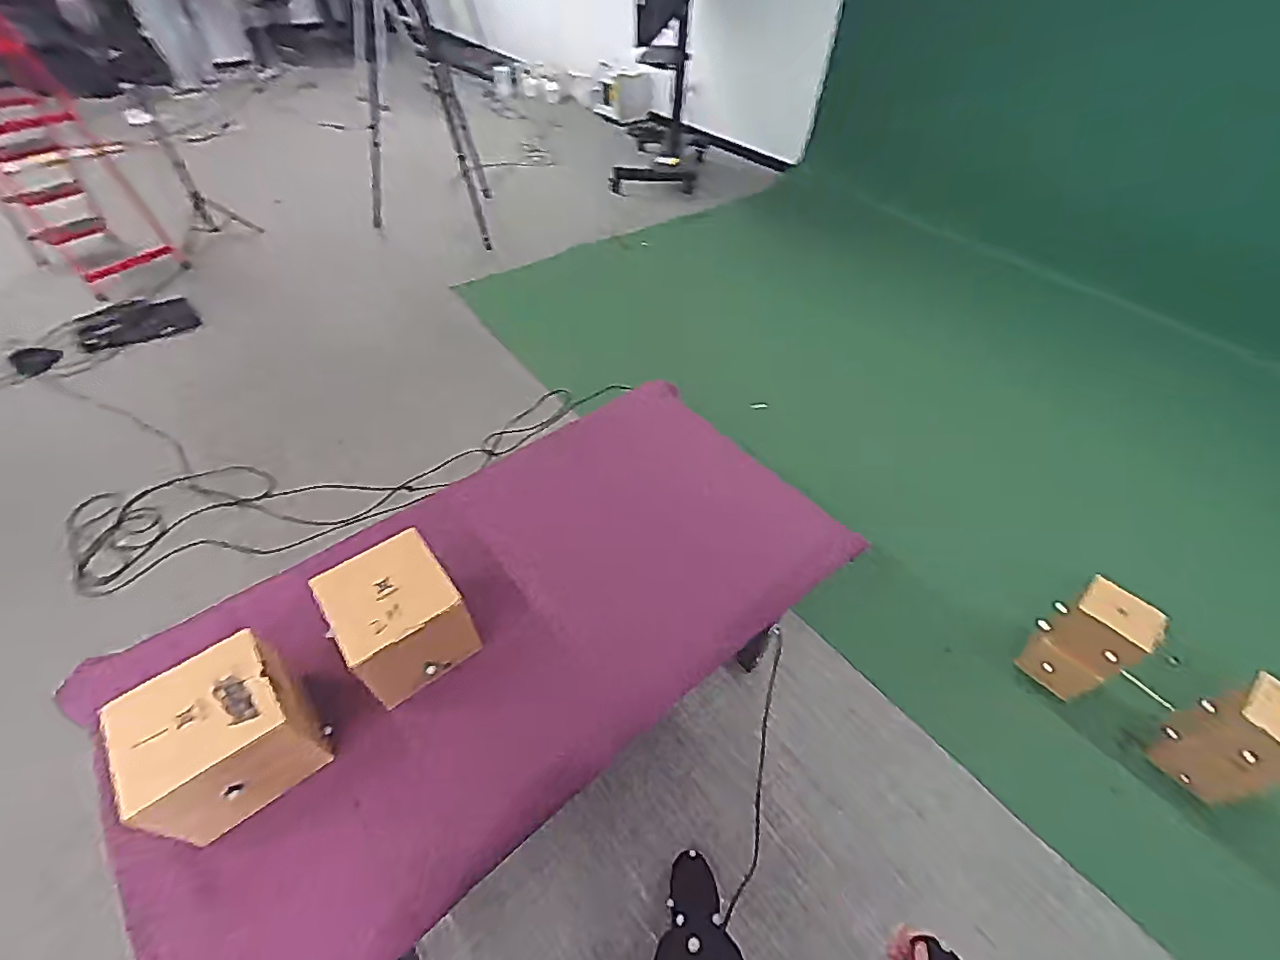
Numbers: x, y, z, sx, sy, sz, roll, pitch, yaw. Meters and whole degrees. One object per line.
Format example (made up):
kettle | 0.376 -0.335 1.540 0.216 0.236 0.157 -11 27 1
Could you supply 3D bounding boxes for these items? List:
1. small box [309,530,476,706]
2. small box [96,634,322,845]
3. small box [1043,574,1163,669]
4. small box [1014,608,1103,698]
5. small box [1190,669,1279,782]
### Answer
small box | -0.384 0.220 0.859 0.168 0.176 0.179 -31 57 -26
small box | -0.564 0.351 0.732 0.179 0.176 0.168 -32 57 -26
small box | 1.301 0.408 1.529 0.168 0.176 0.179 -32 56 -29
small box | 1.283 0.524 1.643 0.179 0.176 0.168 -33 57 -29
small box | 1.548 0.617 1.350 0.179 0.176 0.168 -30 57 -24
